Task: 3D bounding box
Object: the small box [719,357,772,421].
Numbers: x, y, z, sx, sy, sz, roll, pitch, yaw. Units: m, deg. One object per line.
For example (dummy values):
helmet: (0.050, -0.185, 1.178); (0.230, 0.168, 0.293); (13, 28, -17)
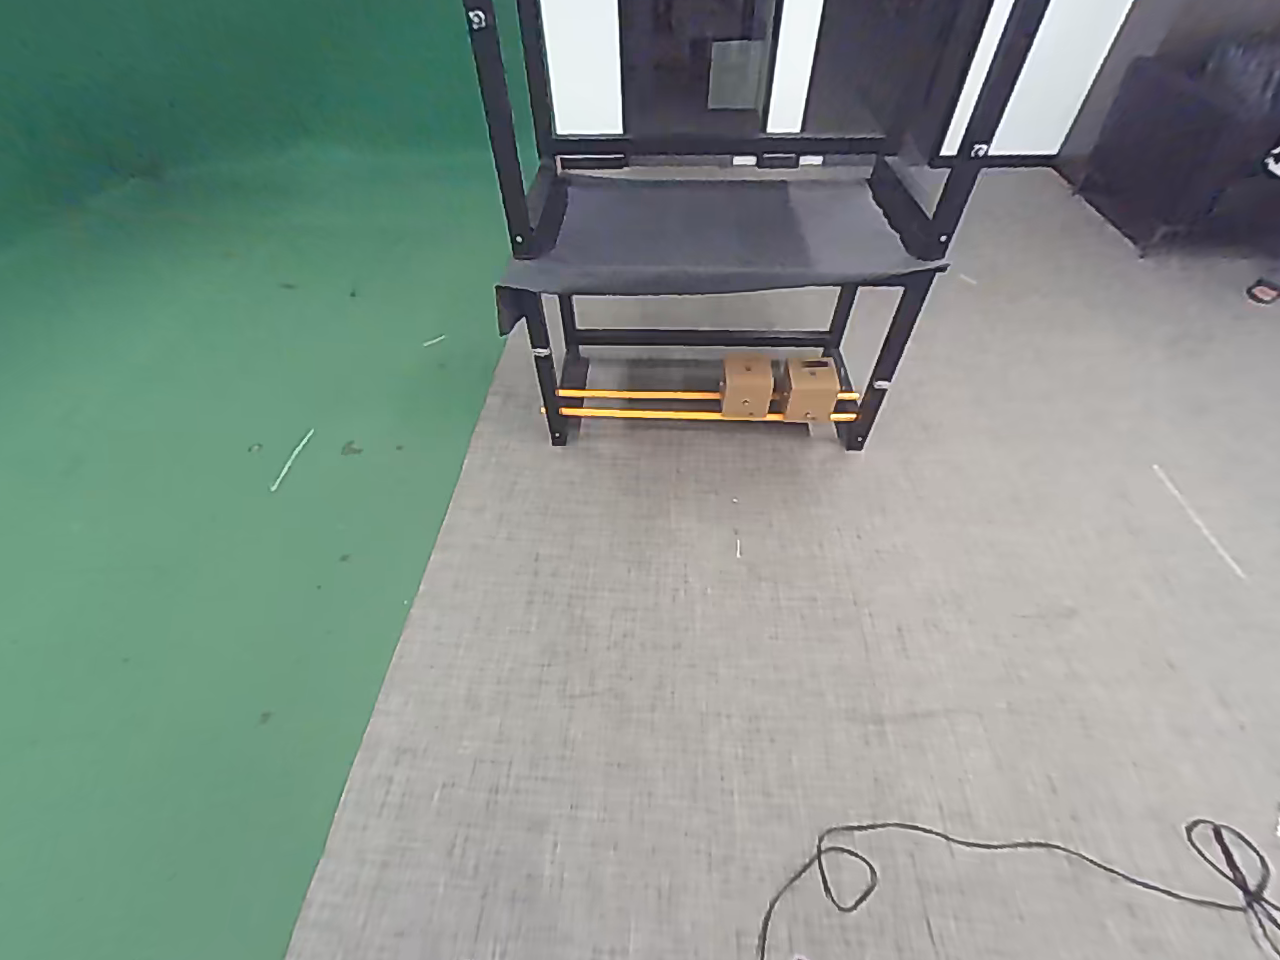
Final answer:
small box: (0.383, -0.332, 1.991); (0.168, 0.176, 0.179); (1, 50, 2)
